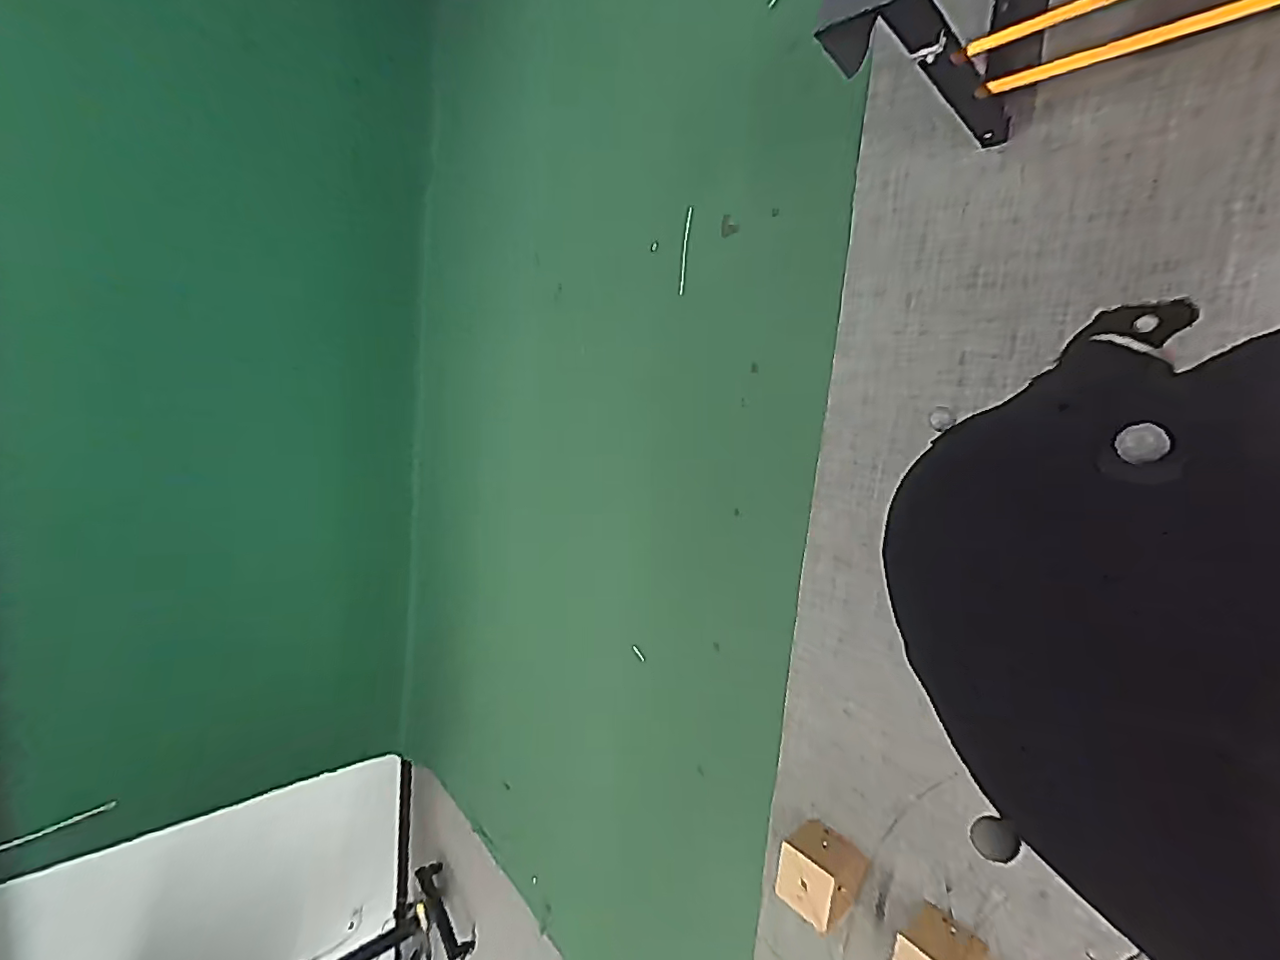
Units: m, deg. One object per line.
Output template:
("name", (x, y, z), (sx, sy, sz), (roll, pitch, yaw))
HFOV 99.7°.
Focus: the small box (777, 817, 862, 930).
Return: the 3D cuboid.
("small box", (0.529, 1.136, 1.580), (0.168, 0.176, 0.179), (14, 101, 47))
